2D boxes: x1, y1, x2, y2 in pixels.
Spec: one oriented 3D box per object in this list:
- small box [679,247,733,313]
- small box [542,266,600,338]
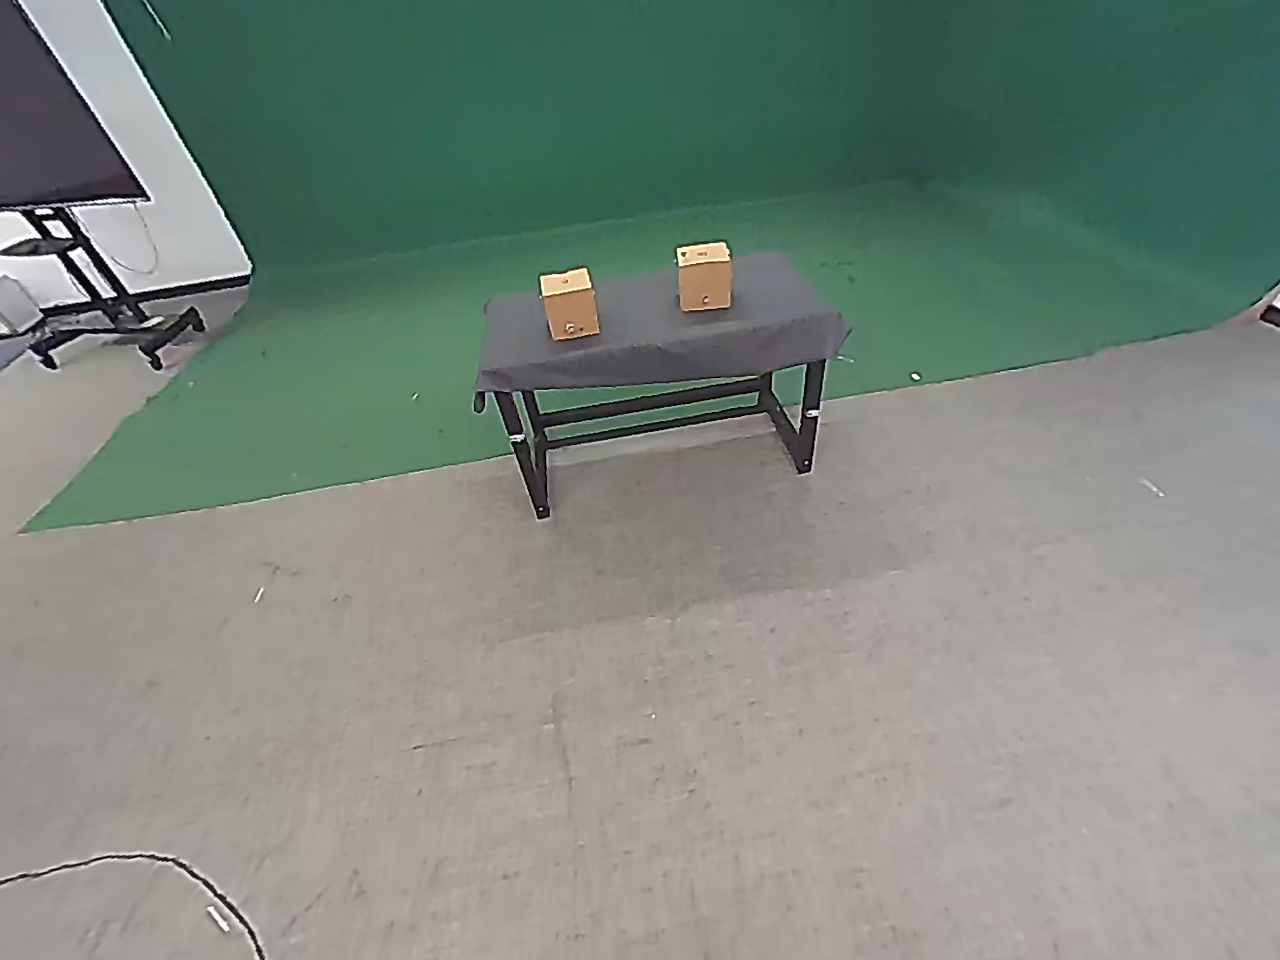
[{"bbox_3d":[0.231,-0.710,1.922,0.179,0.176,0.168,-4,42,4],"label":"small box"},{"bbox_3d":[-0.238,-0.612,1.862,0.168,0.176,0.179,-12,42,-1],"label":"small box"}]
